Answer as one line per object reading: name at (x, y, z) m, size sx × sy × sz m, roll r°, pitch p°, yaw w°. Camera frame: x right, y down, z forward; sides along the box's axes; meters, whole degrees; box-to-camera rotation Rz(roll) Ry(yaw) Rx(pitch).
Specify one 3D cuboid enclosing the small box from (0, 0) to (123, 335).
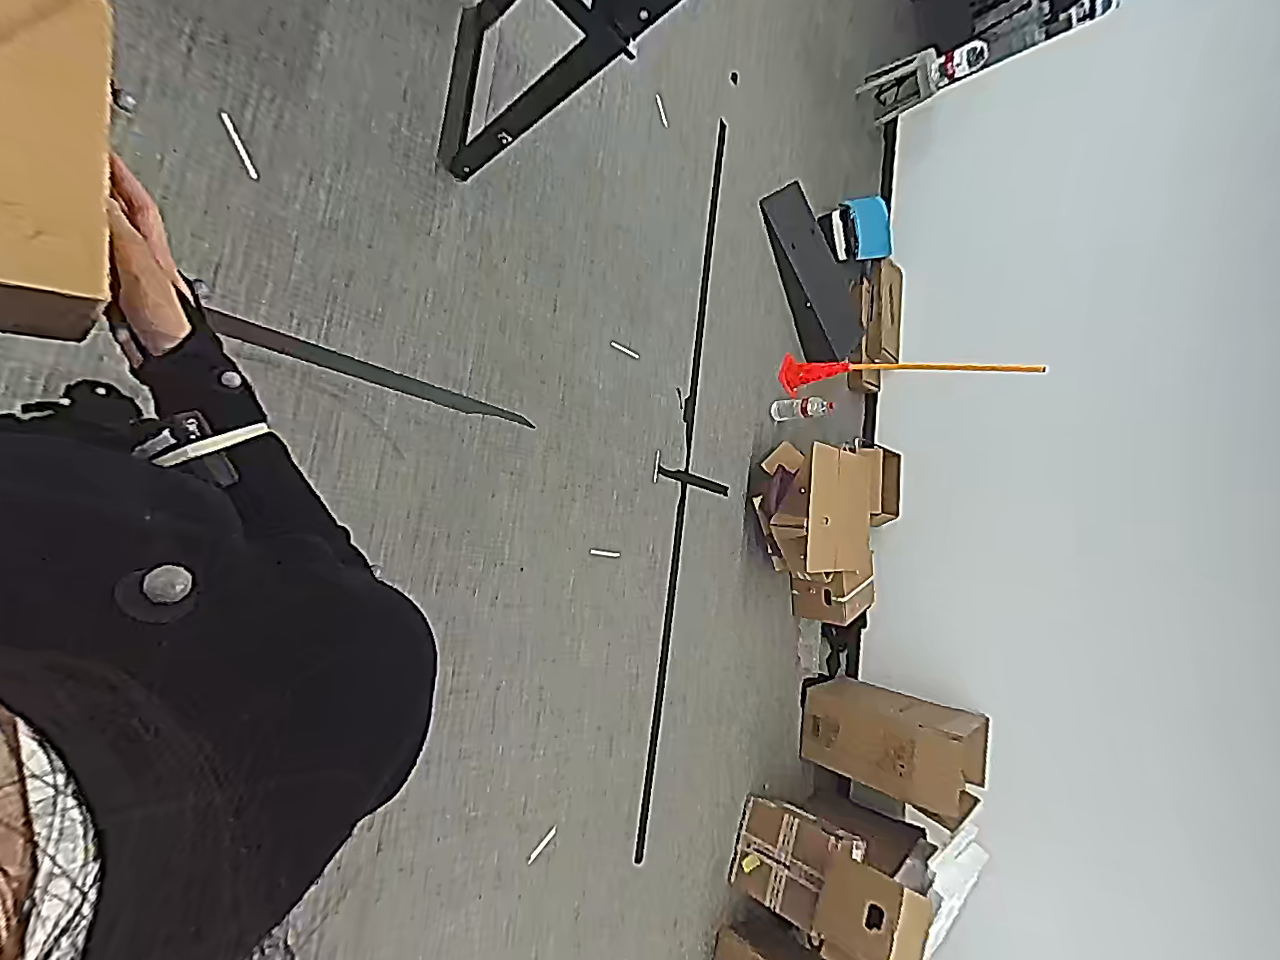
small box at (-0.413, -0.191, 0.303) m, size 0.168 × 0.176 × 0.179 m, roll 0°, pitch 90°, yaw -50°
